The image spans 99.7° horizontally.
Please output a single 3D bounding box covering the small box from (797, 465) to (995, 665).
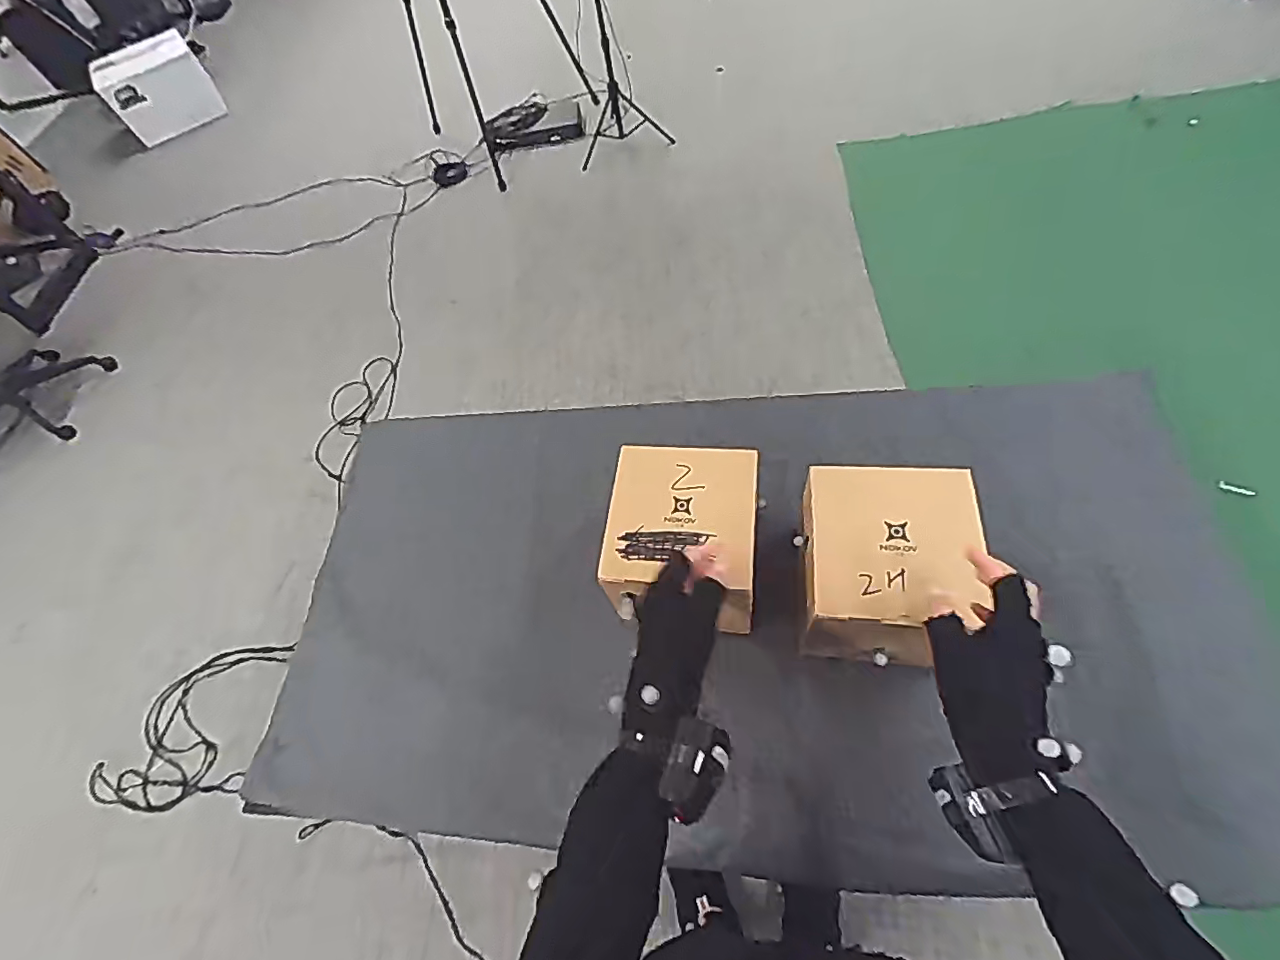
[{"bbox_3d":[0.273,0.100,0.624,0.168,0.176,0.179,1,61,12],"label":"small box"}]
